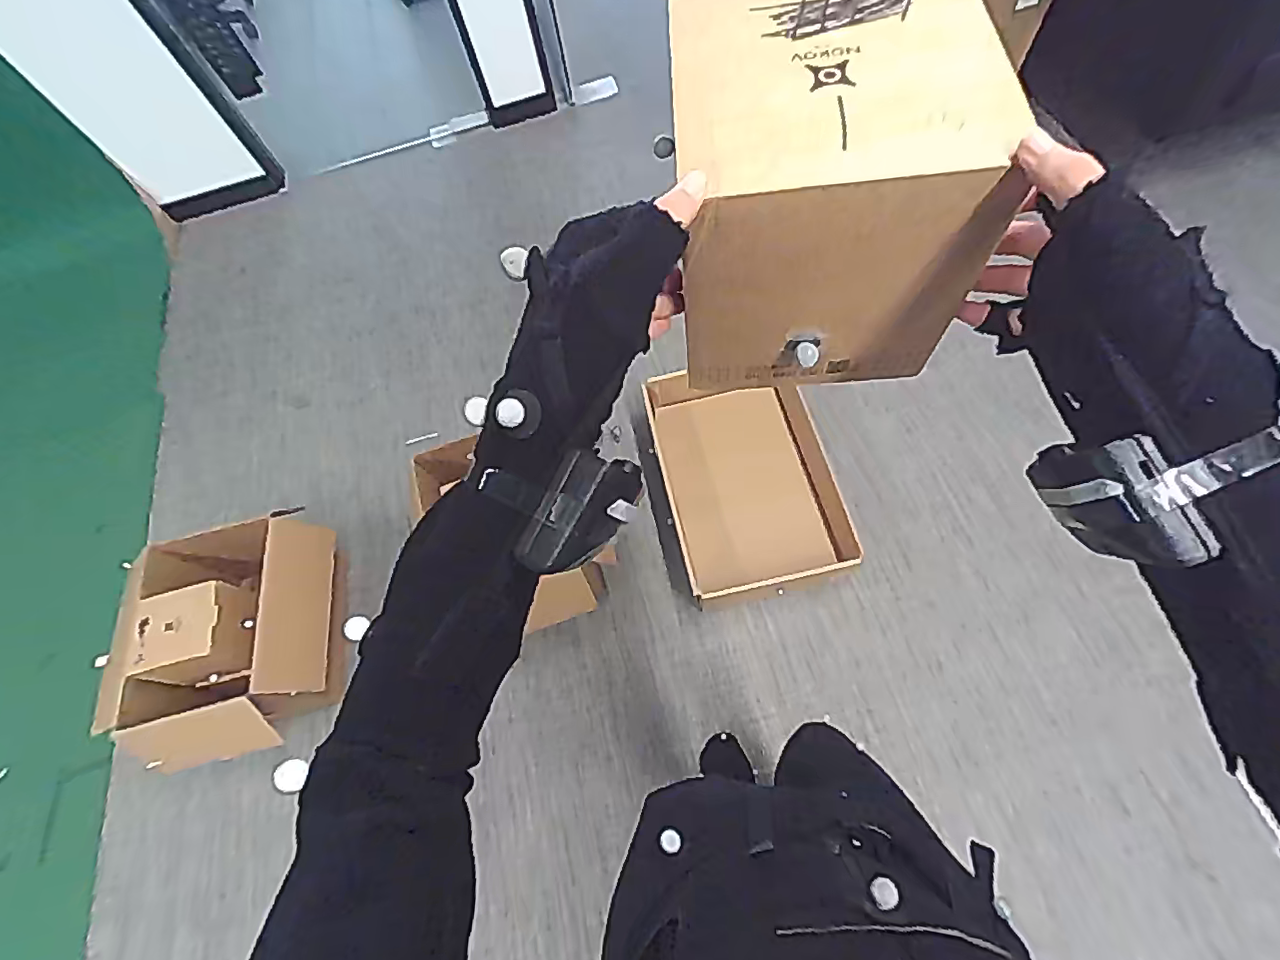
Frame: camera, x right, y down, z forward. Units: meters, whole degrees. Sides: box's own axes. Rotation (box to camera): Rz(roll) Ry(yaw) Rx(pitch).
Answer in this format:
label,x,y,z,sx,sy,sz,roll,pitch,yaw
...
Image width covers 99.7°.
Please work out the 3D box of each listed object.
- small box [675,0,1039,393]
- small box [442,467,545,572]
label,x,y,z,sx,sy,sz,roll,pitch,yaw
small box,0.109,-0.179,0.358,0.168,0.176,0.179,-3,66,6
small box,-0.333,0.102,1.255,0.168,0.176,0.179,-21,66,-4
